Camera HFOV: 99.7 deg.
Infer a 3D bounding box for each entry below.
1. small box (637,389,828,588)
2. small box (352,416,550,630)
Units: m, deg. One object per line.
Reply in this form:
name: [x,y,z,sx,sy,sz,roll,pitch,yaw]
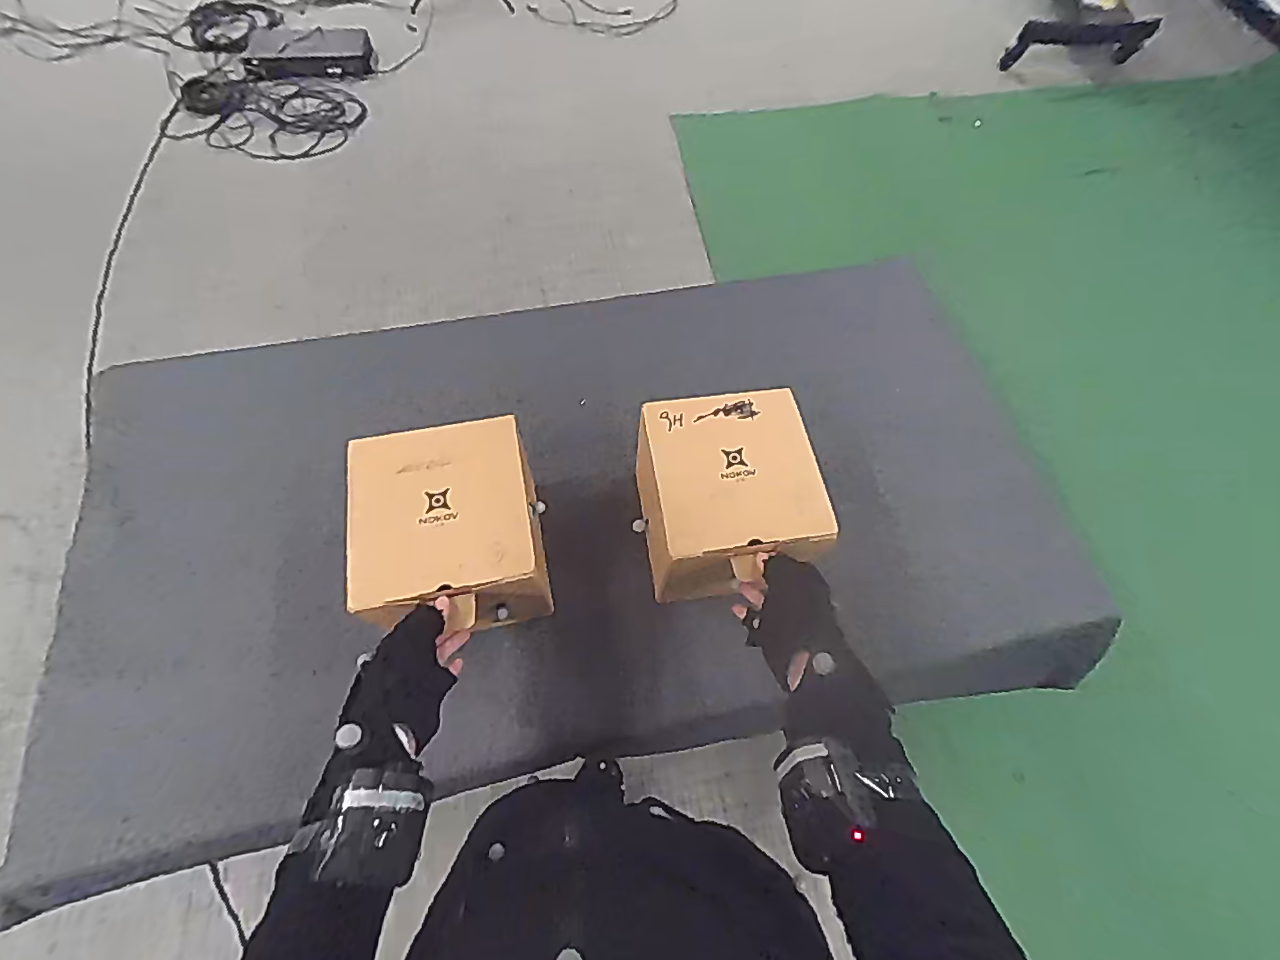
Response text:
small box: [0.090,0.019,0.622,0.168,0.176,0.179,-6,65,-6]
small box: [-0.196,0.057,0.591,0.168,0.176,0.179,-10,64,-10]
